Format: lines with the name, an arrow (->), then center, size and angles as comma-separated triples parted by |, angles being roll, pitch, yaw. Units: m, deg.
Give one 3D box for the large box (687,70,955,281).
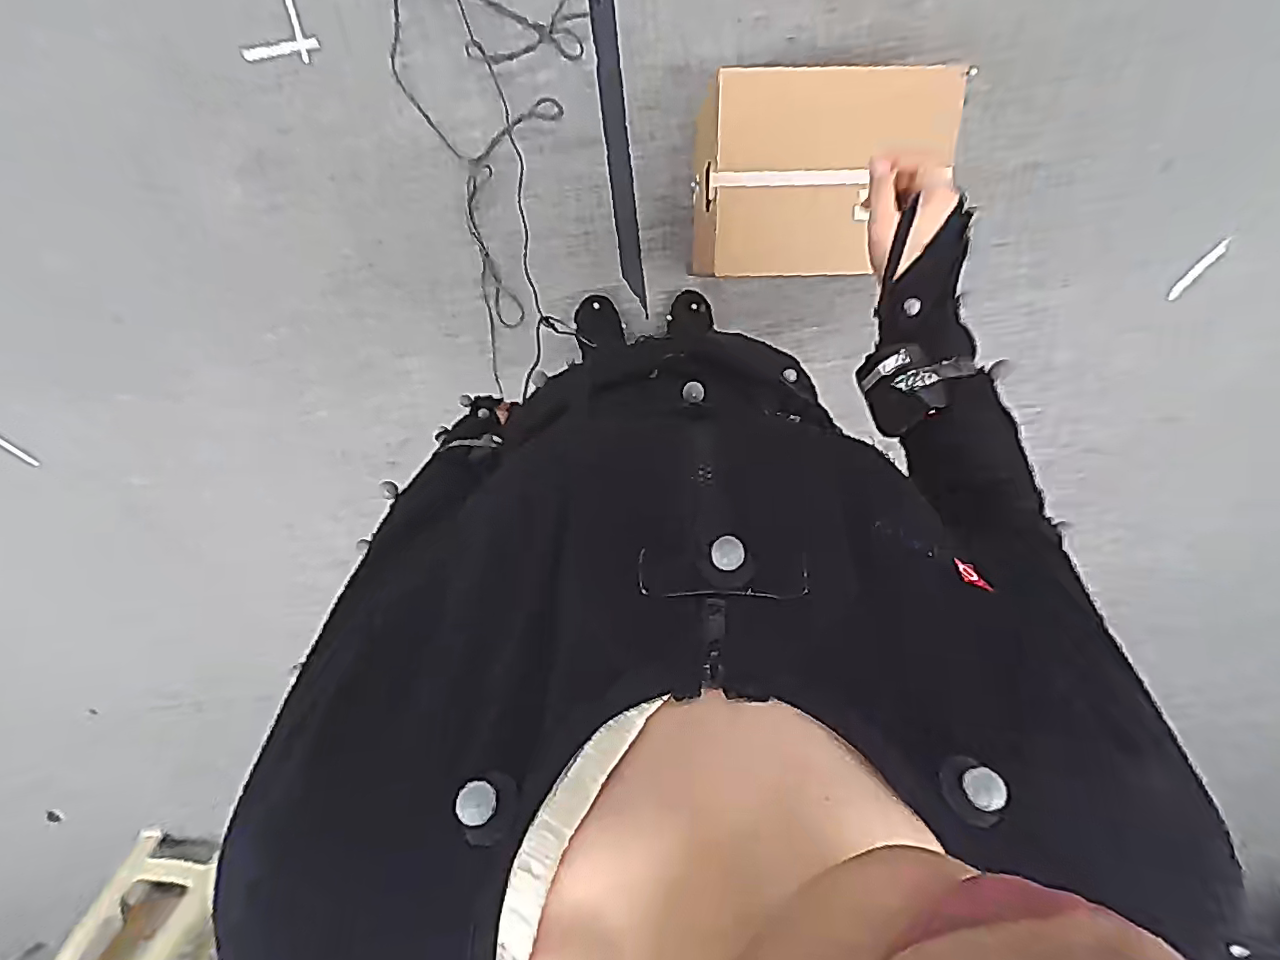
large box -> 0.311, -0.562, 1.060 | 0.408, 0.320, 0.320 | -2, 111, -3
